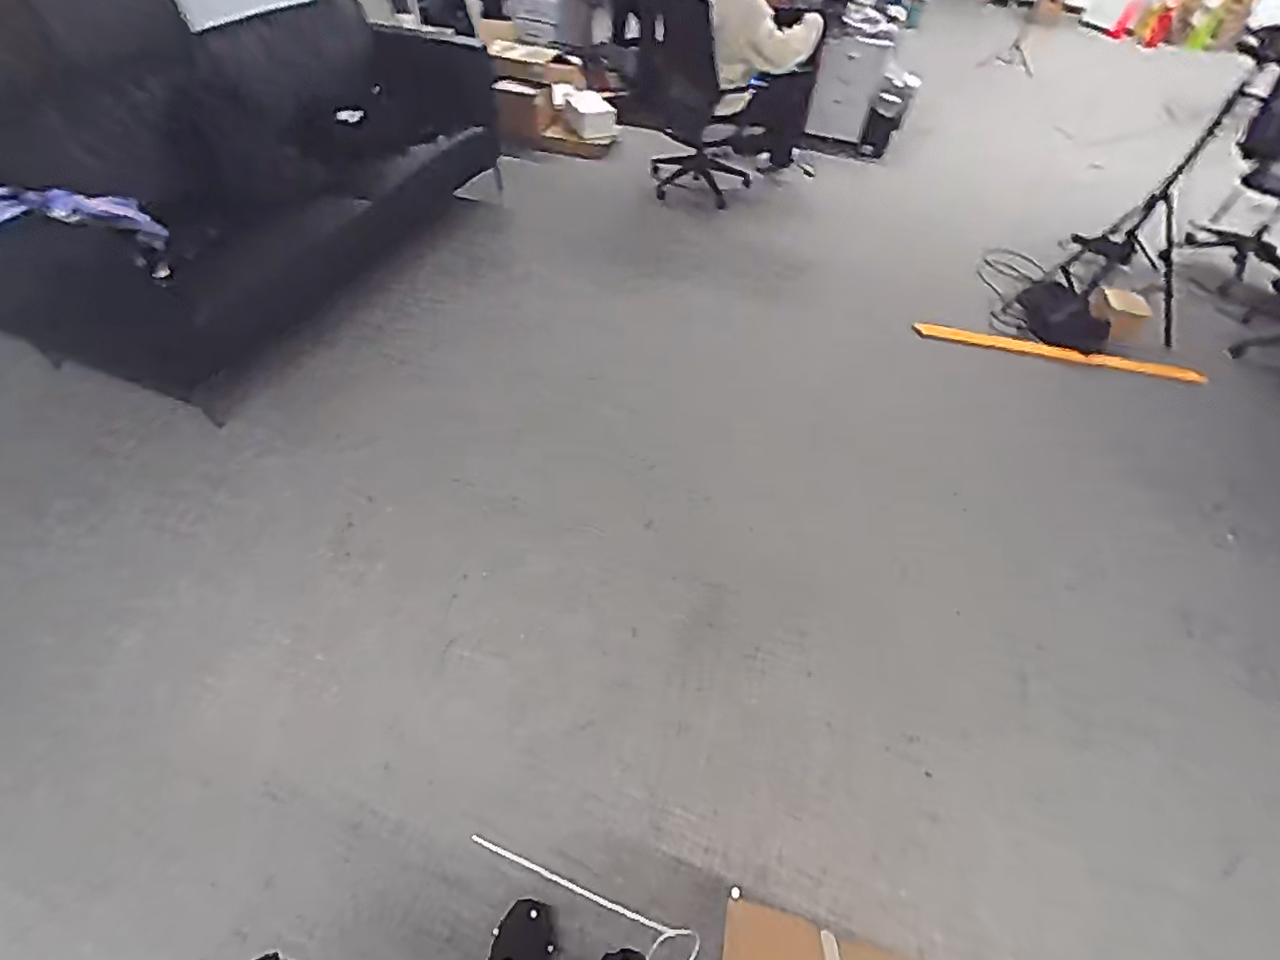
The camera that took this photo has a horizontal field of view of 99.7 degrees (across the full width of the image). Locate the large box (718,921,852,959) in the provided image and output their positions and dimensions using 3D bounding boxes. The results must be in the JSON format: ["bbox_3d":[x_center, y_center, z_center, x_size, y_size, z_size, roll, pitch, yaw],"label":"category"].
[{"bbox_3d":[0.218,0.855,0.640,0.320,0.408,0.320,11,82,14],"label":"large box"}]
